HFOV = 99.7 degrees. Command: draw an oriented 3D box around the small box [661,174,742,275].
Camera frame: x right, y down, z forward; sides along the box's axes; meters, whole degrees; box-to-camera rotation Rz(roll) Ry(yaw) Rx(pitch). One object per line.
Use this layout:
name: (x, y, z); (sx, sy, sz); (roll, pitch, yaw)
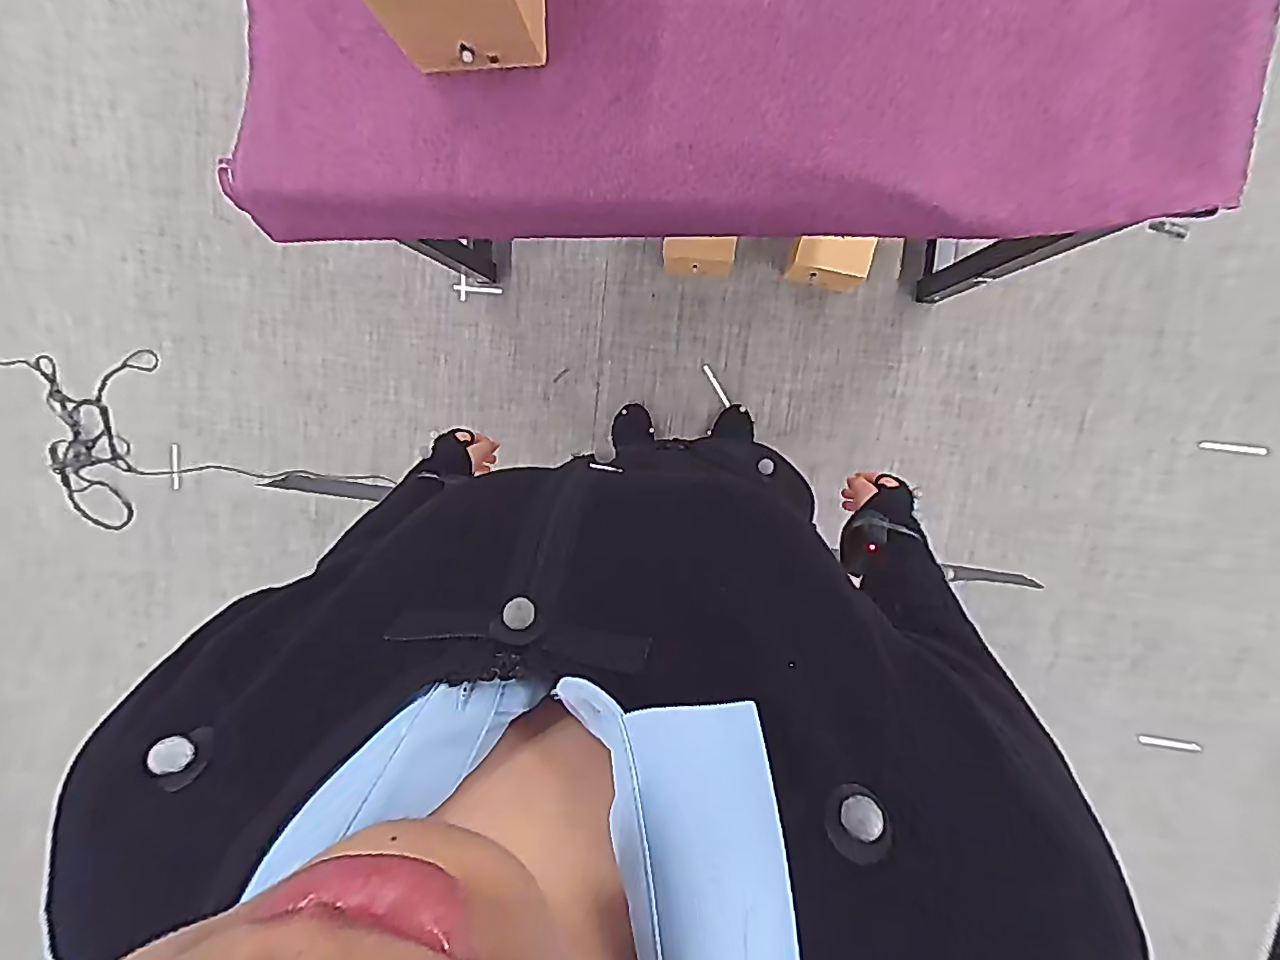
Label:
small box: (0.147, -0.607, 1.305); (0.168, 0.176, 0.179); (7, 99, 4)

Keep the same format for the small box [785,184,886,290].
small box: (0.453, -0.566, 1.284); (0.168, 0.176, 0.179); (14, 99, 4)
